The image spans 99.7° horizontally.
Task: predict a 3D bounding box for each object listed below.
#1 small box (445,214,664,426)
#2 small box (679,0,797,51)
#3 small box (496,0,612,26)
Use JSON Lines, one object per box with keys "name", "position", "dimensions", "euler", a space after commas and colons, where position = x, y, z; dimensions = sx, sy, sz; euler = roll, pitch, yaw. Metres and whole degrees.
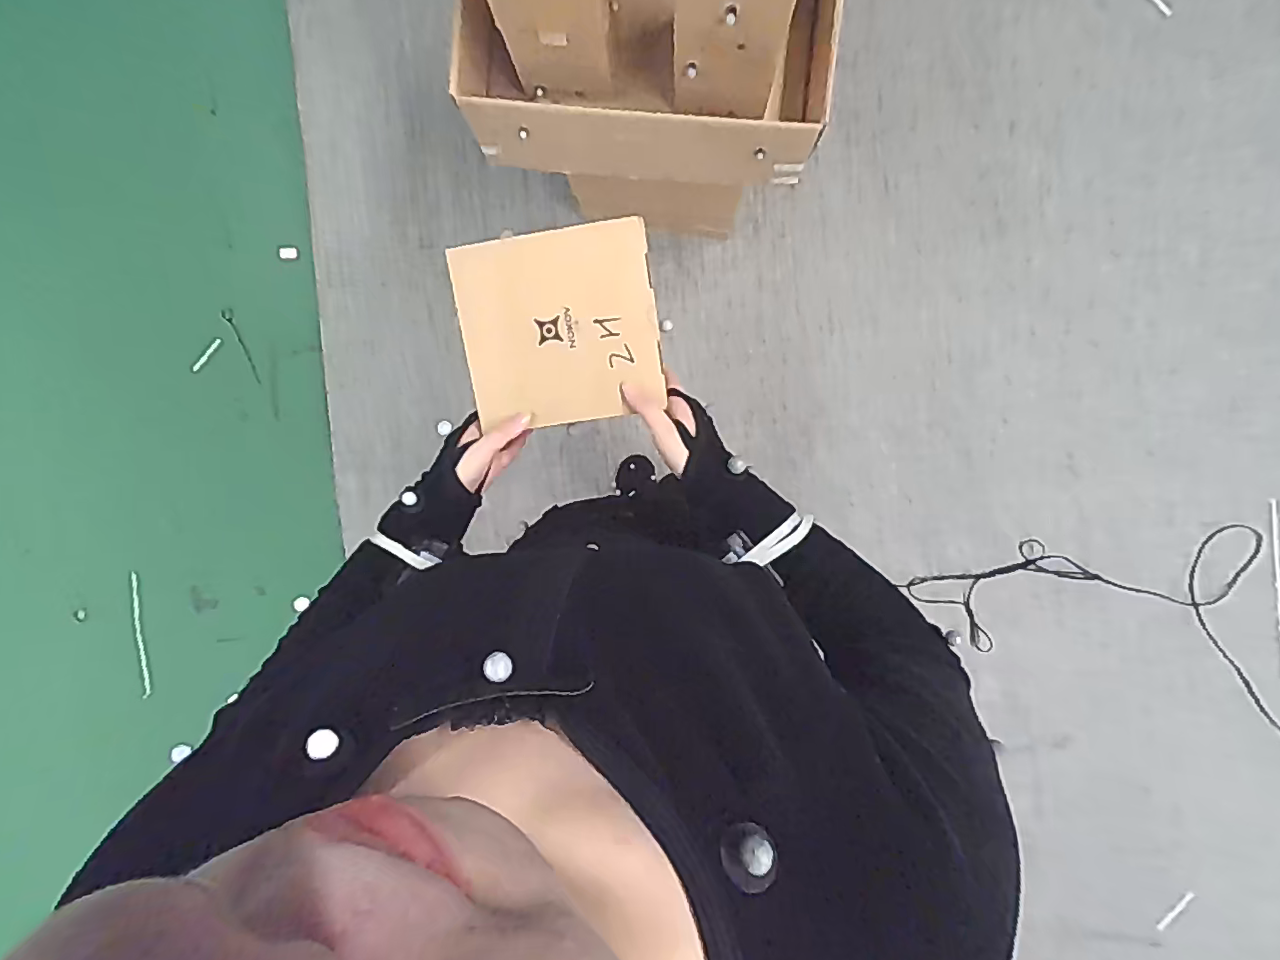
{"name": "small box", "position": [-0.071, -0.153, 0.559], "dimensions": [0.179, 0.176, 0.168], "euler": [-7, 101, 5]}
{"name": "small box", "position": [0.150, -0.739, 0.737], "dimensions": [0.168, 0.176, 0.179], "euler": [13, 94, 3]}
{"name": "small box", "position": [-0.129, -0.783, 0.754], "dimensions": [0.179, 0.176, 0.168], "euler": [5, 93, 2]}
